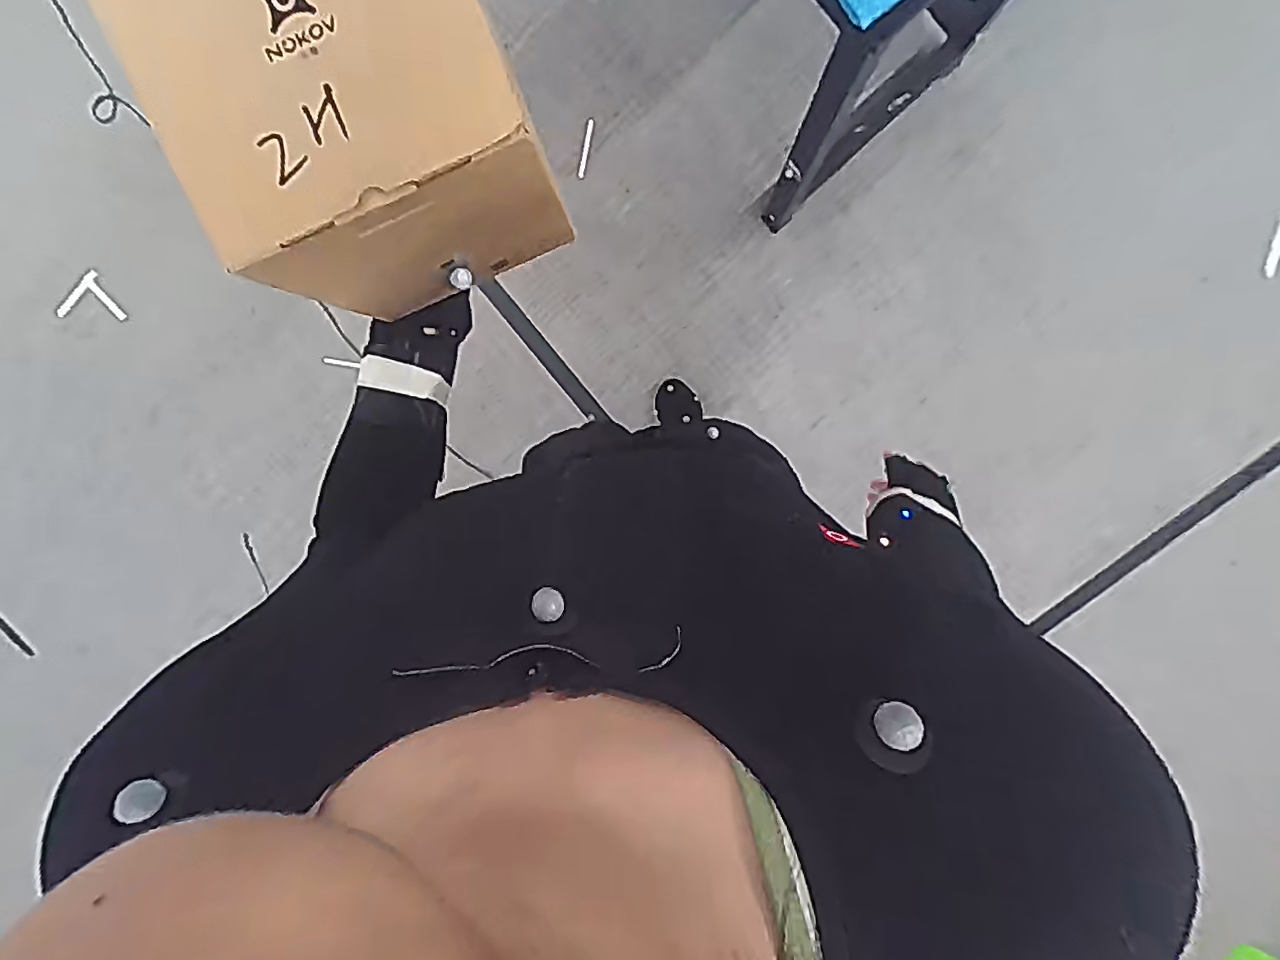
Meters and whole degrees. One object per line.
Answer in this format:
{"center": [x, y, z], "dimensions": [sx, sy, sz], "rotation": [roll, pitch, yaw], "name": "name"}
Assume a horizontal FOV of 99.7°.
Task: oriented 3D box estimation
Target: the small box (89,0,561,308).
{"center": [-0.162, -0.223, 0.329], "dimensions": [0.168, 0.176, 0.179], "rotation": [-18, 100, 6], "name": "small box"}

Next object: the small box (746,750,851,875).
{"center": [0.371, 0.786, 1.296], "dimensions": [0.179, 0.176, 0.168], "rotation": [-26, 94, 9], "name": "small box"}
